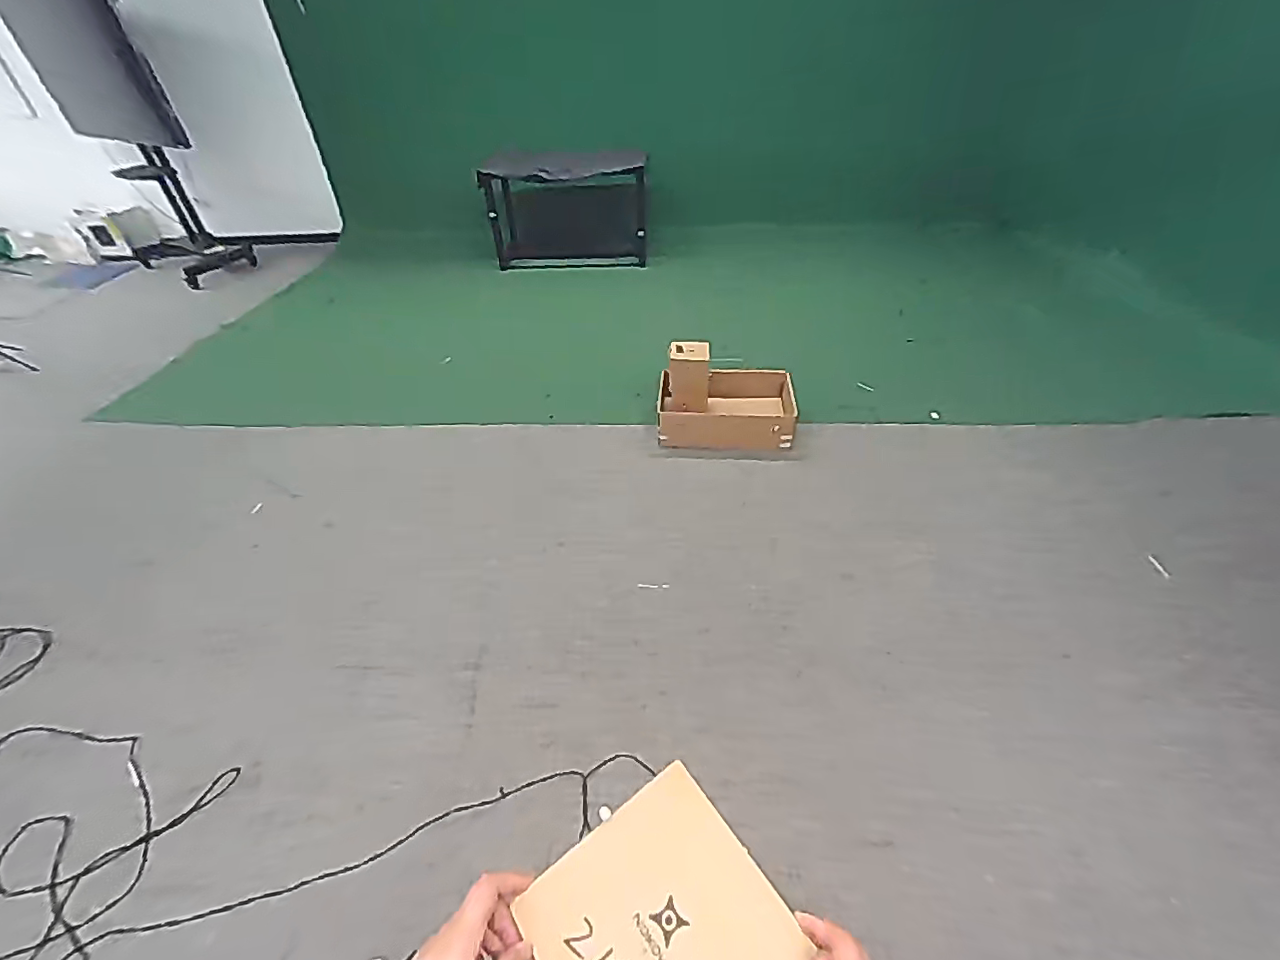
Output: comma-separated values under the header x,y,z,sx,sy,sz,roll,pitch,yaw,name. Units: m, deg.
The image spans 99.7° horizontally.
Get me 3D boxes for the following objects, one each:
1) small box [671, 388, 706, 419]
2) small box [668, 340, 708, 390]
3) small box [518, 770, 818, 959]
x,y,z,sx,sy,sz,roll,pitch,yaw,name
0.232,-0.406,2.580,0.168,0.176,0.179,1,42,4,small box
0.220,-0.523,2.465,0.179,0.176,0.168,2,42,4,small box
0.019,0.398,0.474,0.179,0.176,0.168,-31,56,-22,small box
